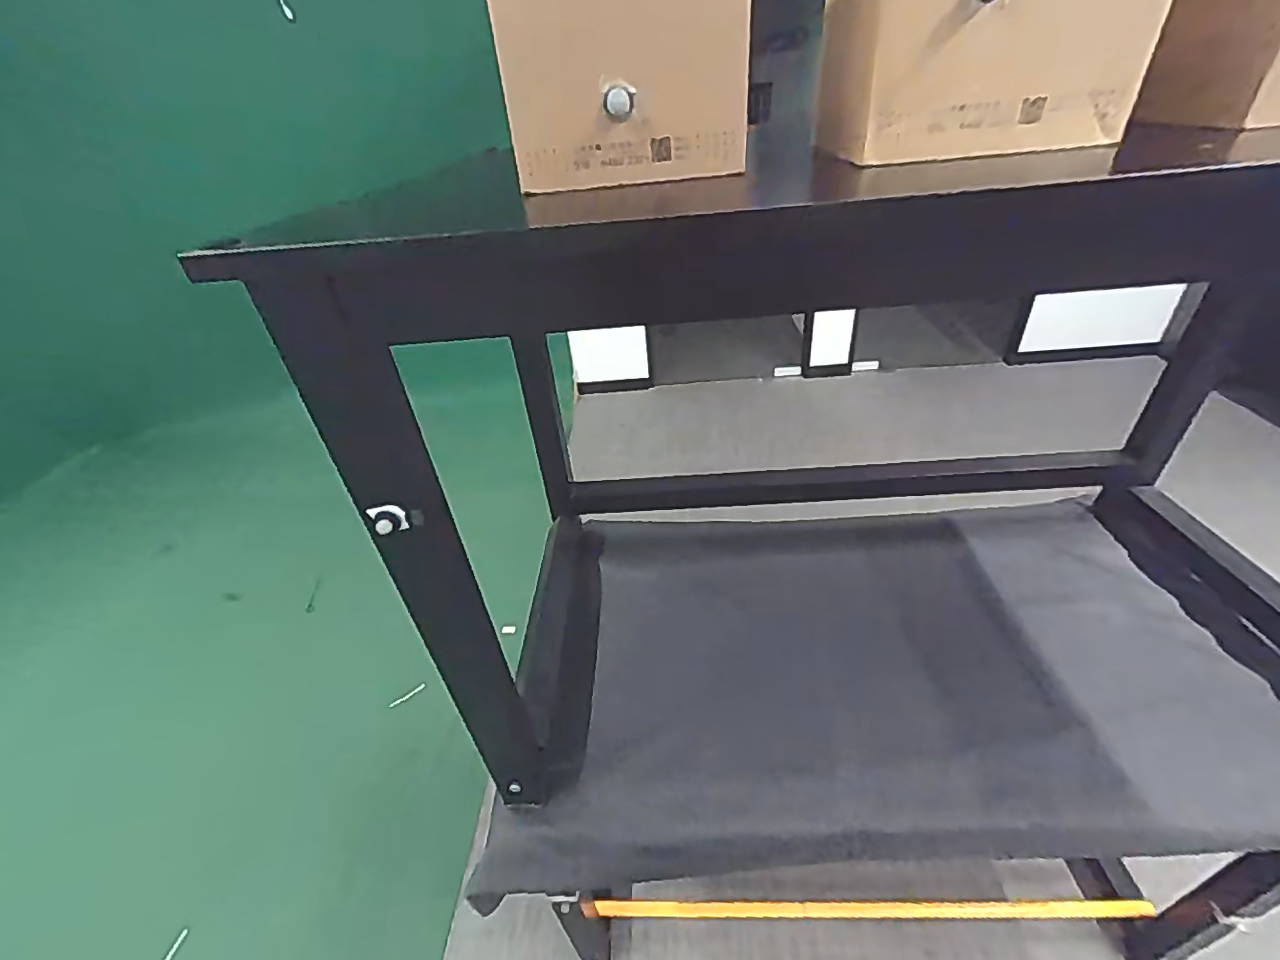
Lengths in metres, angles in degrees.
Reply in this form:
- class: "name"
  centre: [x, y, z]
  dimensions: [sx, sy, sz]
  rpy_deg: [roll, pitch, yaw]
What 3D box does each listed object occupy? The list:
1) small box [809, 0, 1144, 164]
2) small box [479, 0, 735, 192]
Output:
- class: "small box"
  centre: [0.221, -0.329, 0.379]
  dimensions: [0.168, 0.176, 0.179]
  rpy_deg: [-2, 35, 6]
- class: "small box"
  centre: [-0.022, -0.329, 0.416]
  dimensions: [0.168, 0.176, 0.179]
  rpy_deg: [-5, 36, 2]
